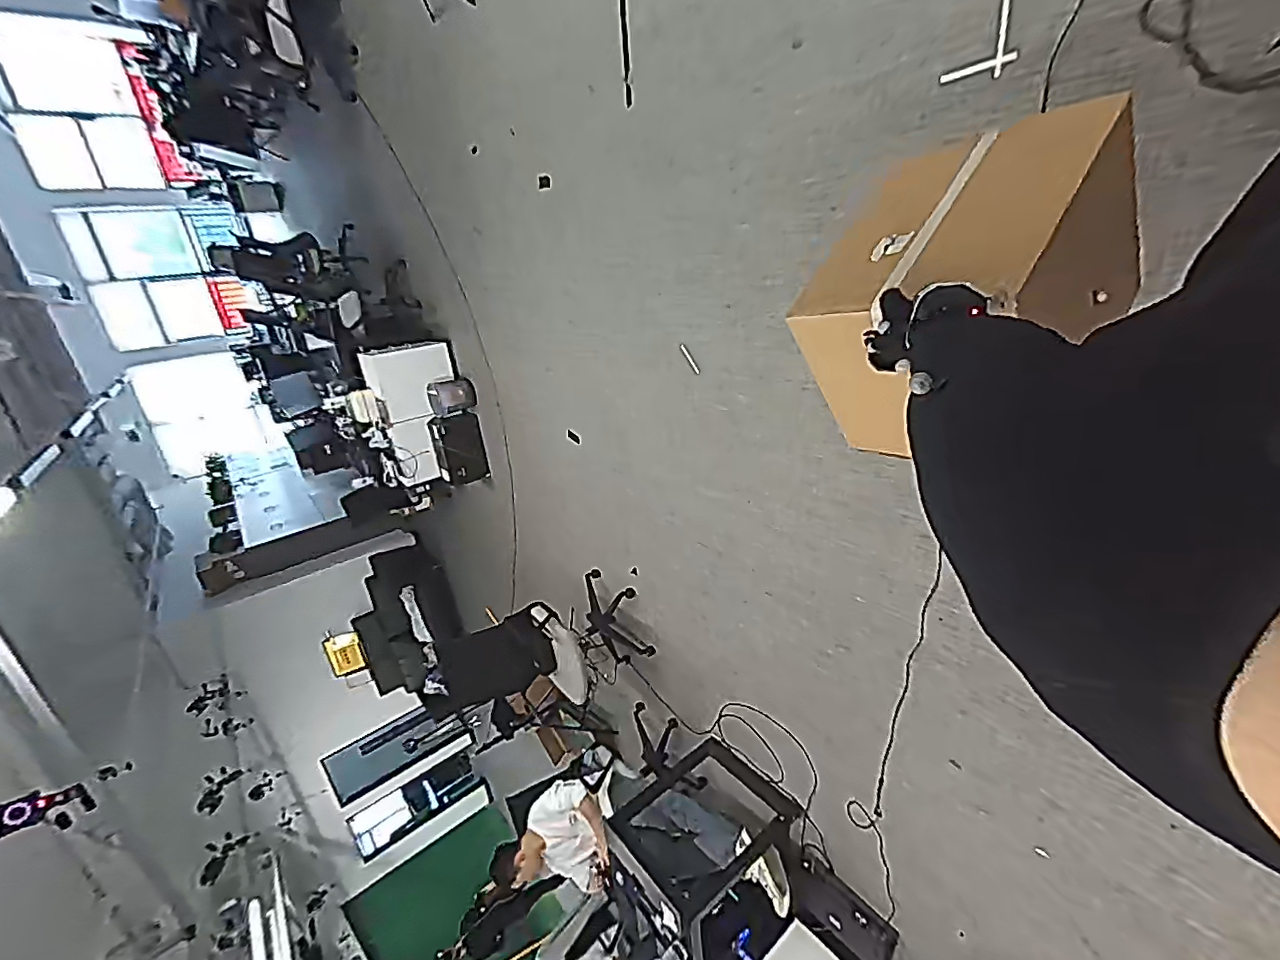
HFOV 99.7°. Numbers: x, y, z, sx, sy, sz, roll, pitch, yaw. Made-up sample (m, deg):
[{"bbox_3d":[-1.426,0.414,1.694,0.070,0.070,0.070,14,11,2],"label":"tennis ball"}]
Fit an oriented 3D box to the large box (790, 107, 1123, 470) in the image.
[{"bbox_3d":[0.515,-0.279,0.861,0.320,0.408,0.320,14,152,52],"label":"large box"}]
